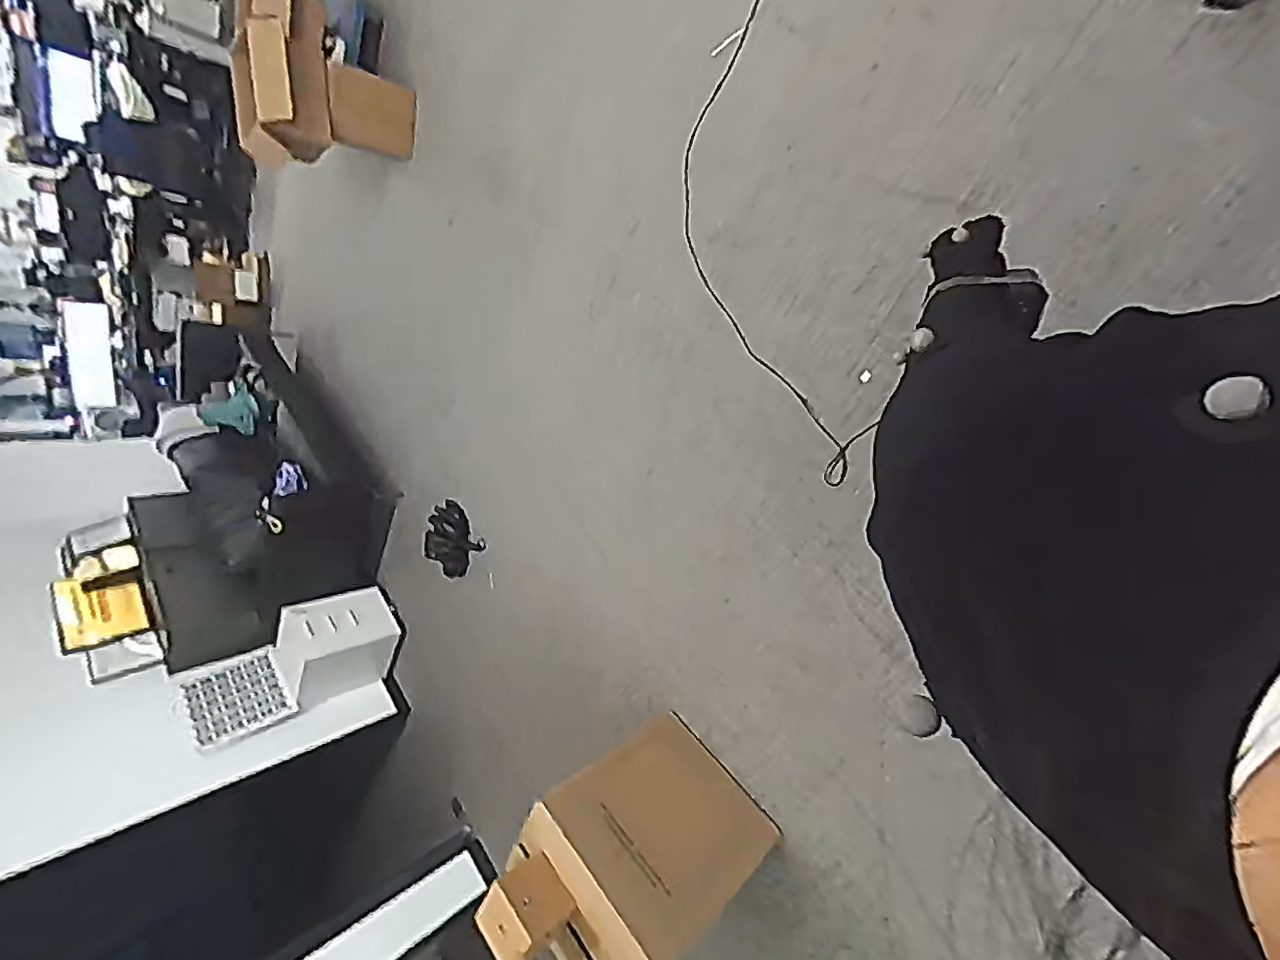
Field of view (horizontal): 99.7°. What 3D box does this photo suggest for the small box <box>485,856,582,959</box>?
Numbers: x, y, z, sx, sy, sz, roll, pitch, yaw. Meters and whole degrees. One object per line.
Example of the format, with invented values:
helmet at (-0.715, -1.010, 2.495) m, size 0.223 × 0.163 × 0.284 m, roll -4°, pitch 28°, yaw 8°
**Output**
small box at (-0.288, 1.190, 1.484) m, size 0.179 × 0.176 × 0.168 m, roll 36°, pitch 109°, yaw 34°
